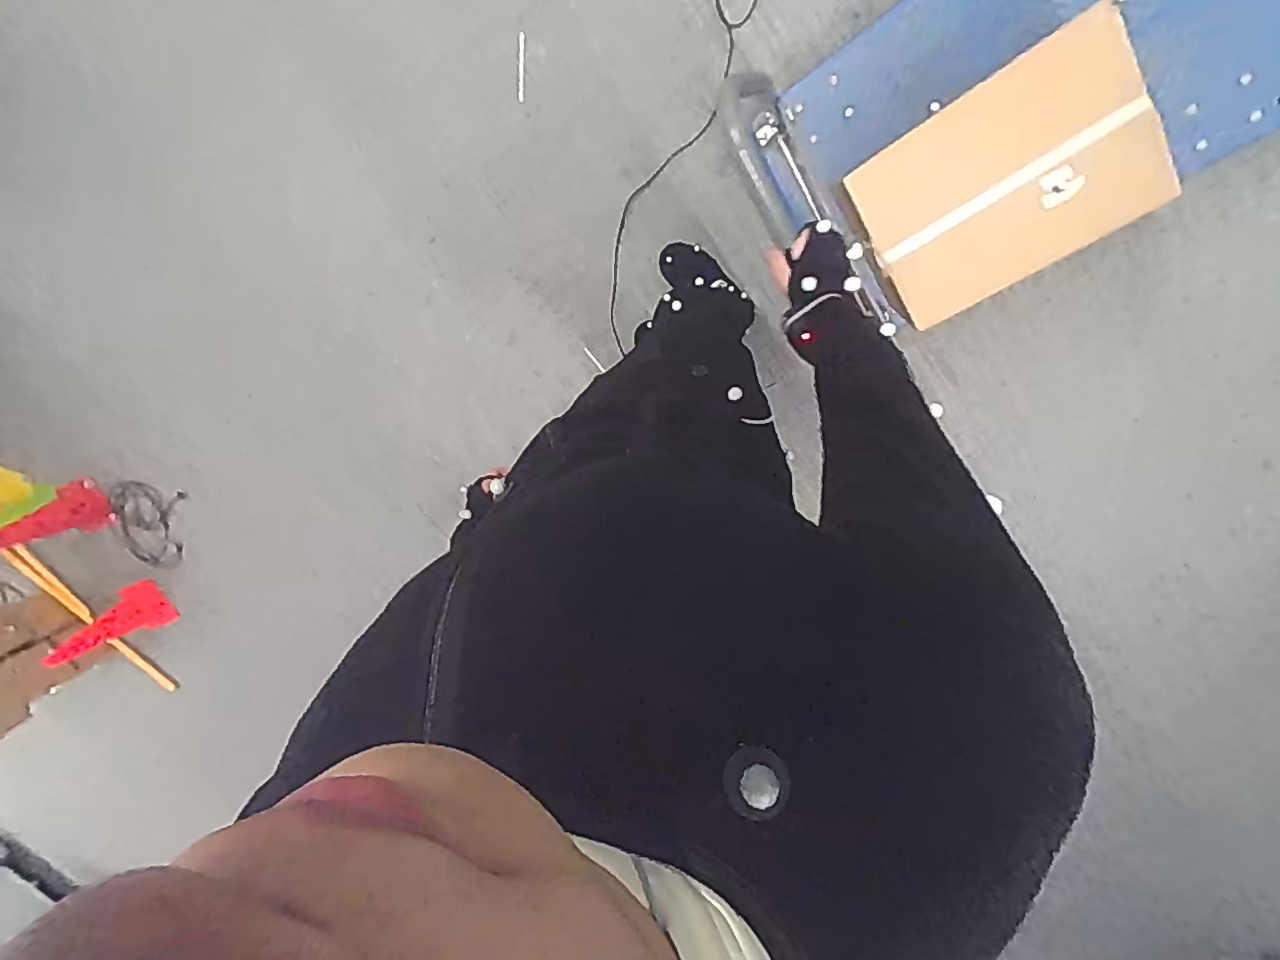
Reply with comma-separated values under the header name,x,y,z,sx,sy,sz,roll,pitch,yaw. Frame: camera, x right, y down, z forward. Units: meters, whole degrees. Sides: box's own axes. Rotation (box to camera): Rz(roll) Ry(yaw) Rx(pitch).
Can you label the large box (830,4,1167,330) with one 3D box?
name,x,y,z,sx,sy,sz,roll,pitch,yaw
large box,0.627,-0.547,1.032,0.408,0.320,0.320,-28,106,25
